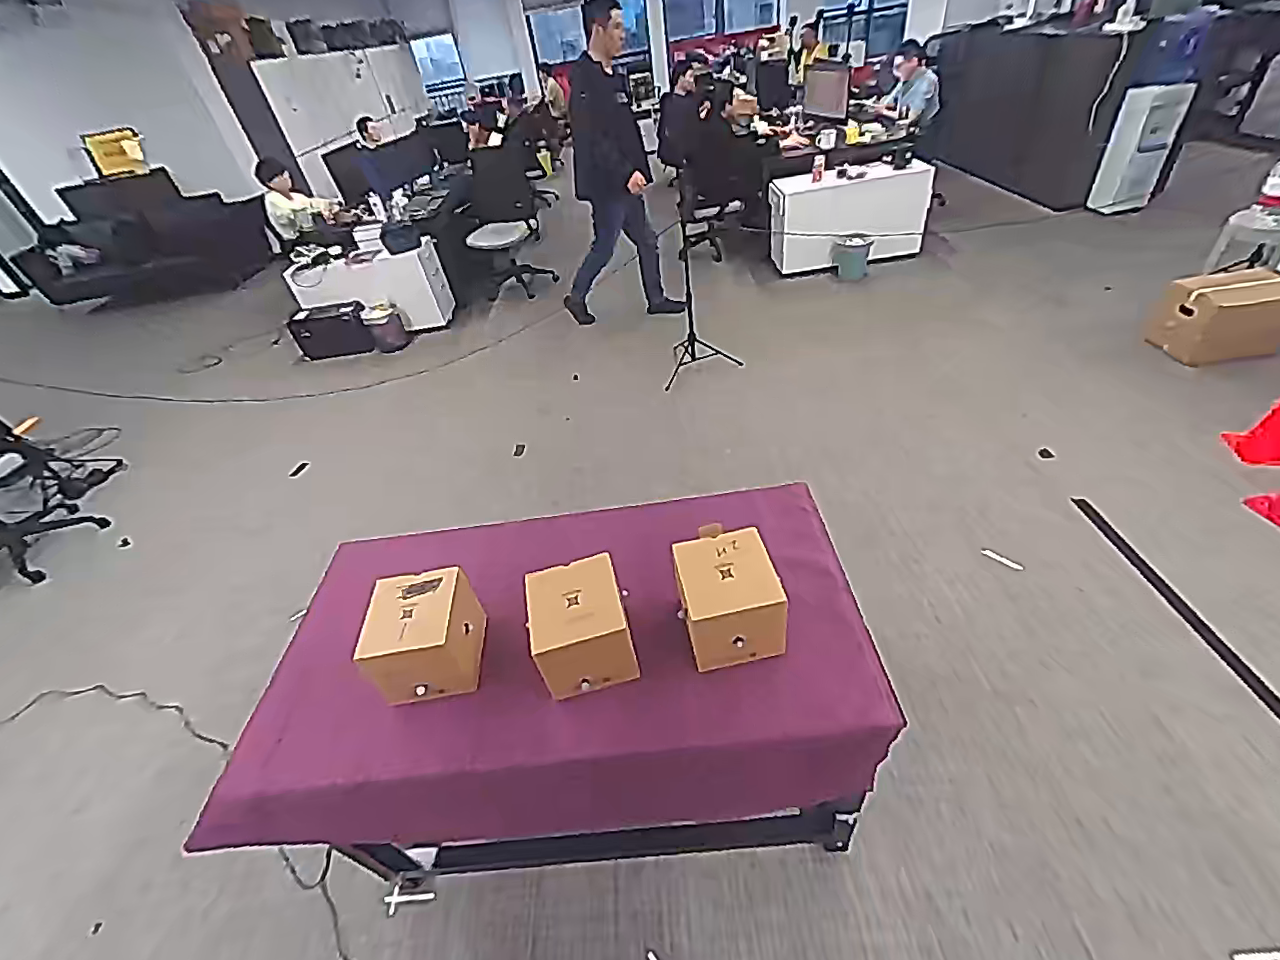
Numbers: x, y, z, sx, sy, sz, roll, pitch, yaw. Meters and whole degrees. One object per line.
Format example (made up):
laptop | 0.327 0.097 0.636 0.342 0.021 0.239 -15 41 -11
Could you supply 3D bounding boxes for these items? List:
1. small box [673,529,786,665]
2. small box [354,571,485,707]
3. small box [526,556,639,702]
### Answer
small box | 0.164 0.222 1.003 0.168 0.176 0.179 -12 40 -1
small box | -0.410 0.306 1.041 0.168 0.176 0.179 -11 41 1
small box | -0.107 0.277 1.006 0.168 0.176 0.179 -15 40 -4
